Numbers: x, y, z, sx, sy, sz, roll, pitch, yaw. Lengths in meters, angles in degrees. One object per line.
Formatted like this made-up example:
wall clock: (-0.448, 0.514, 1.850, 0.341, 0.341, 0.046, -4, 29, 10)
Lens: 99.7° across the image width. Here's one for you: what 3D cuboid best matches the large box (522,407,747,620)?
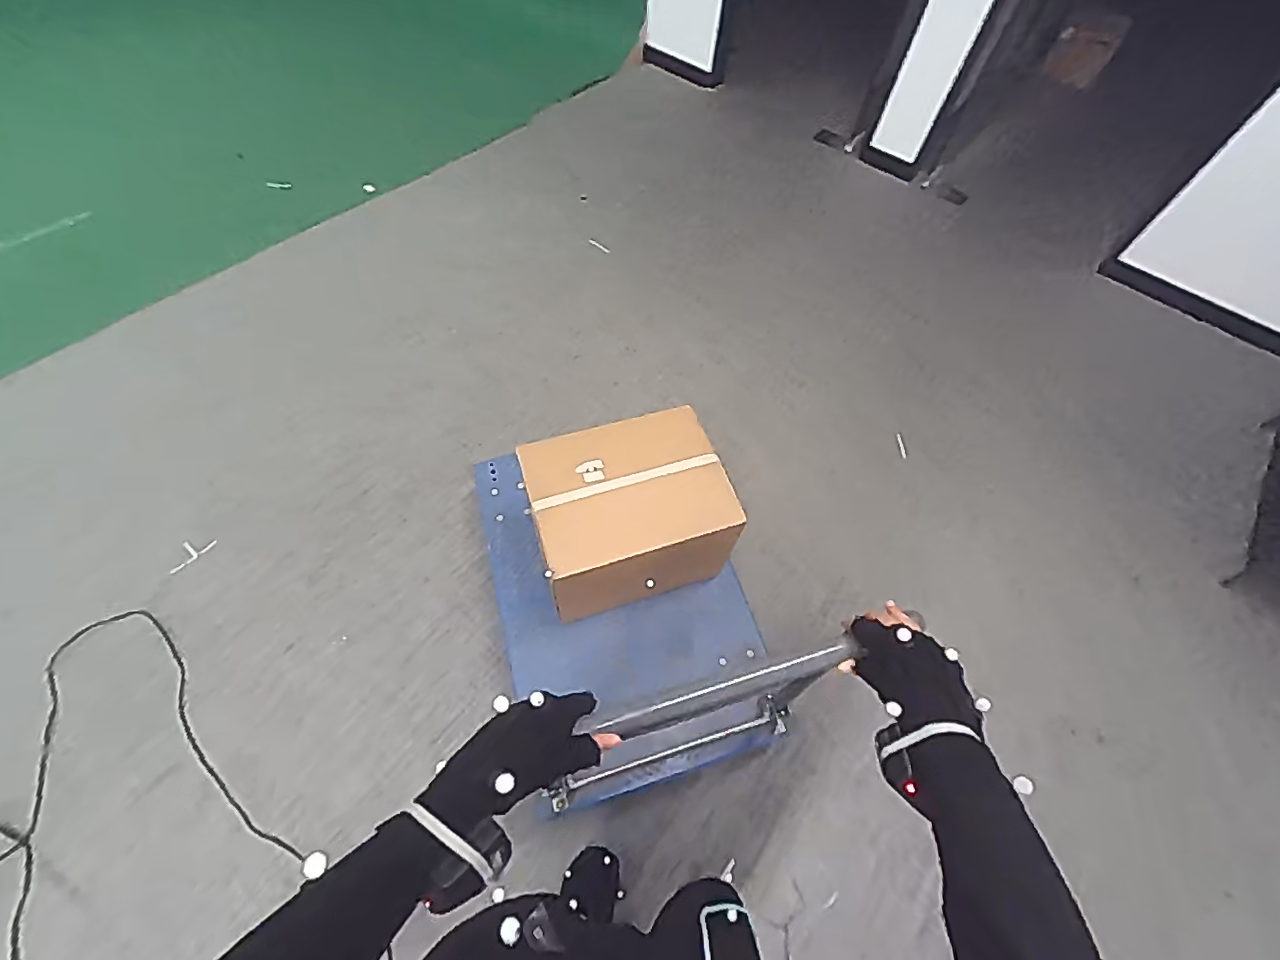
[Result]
large box: (-0.023, 0.084, 1.252, 0.408, 0.320, 0.320, -16, 61, -12)
